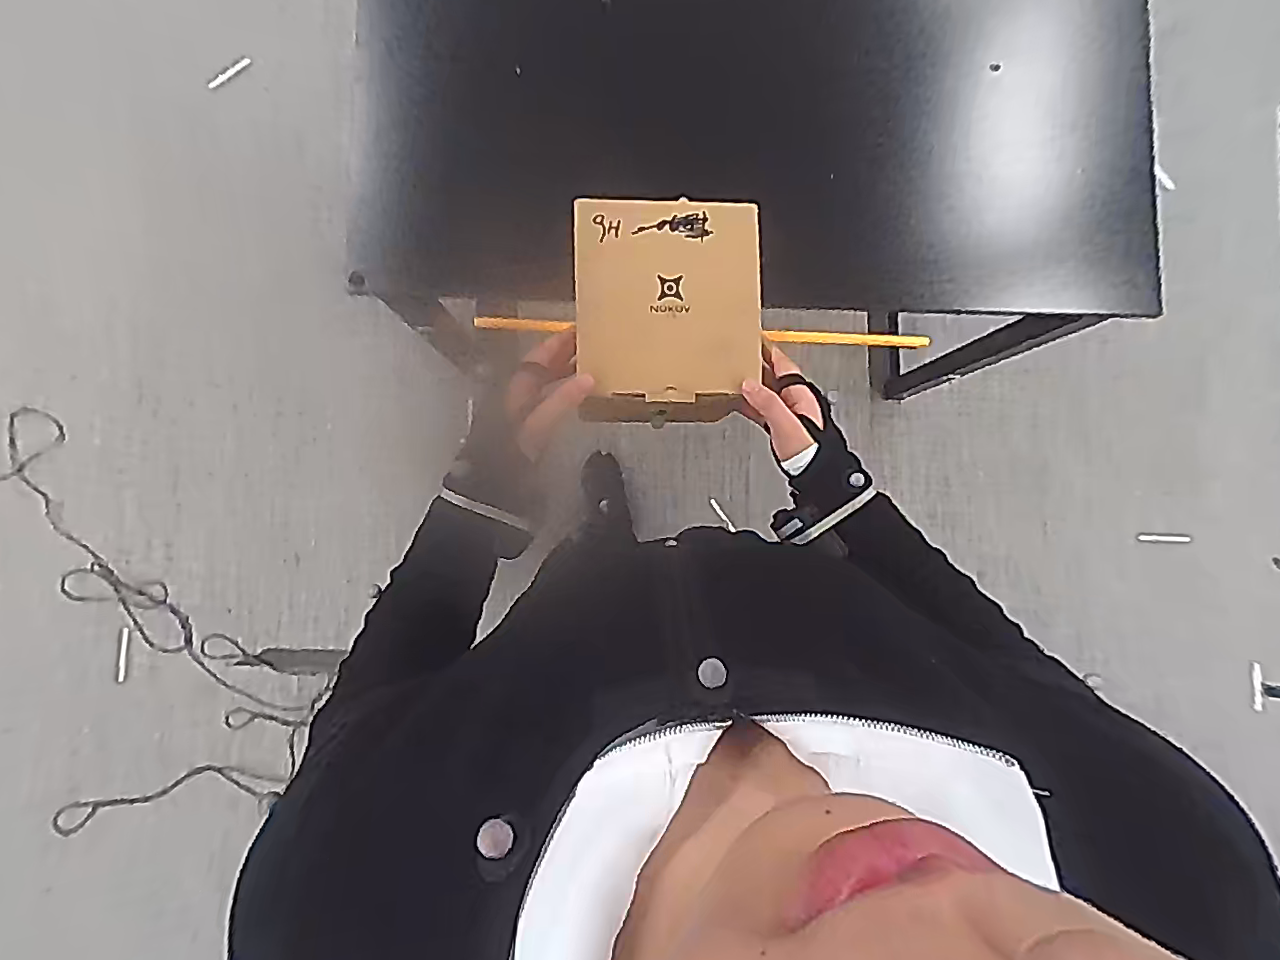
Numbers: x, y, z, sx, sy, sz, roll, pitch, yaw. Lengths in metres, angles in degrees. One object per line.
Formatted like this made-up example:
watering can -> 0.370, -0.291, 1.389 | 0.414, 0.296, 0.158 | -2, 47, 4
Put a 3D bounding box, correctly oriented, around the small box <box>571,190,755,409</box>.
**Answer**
small box -> 0.016, -0.168, 0.557 | 0.168, 0.176, 0.179 | -1, 89, -4
